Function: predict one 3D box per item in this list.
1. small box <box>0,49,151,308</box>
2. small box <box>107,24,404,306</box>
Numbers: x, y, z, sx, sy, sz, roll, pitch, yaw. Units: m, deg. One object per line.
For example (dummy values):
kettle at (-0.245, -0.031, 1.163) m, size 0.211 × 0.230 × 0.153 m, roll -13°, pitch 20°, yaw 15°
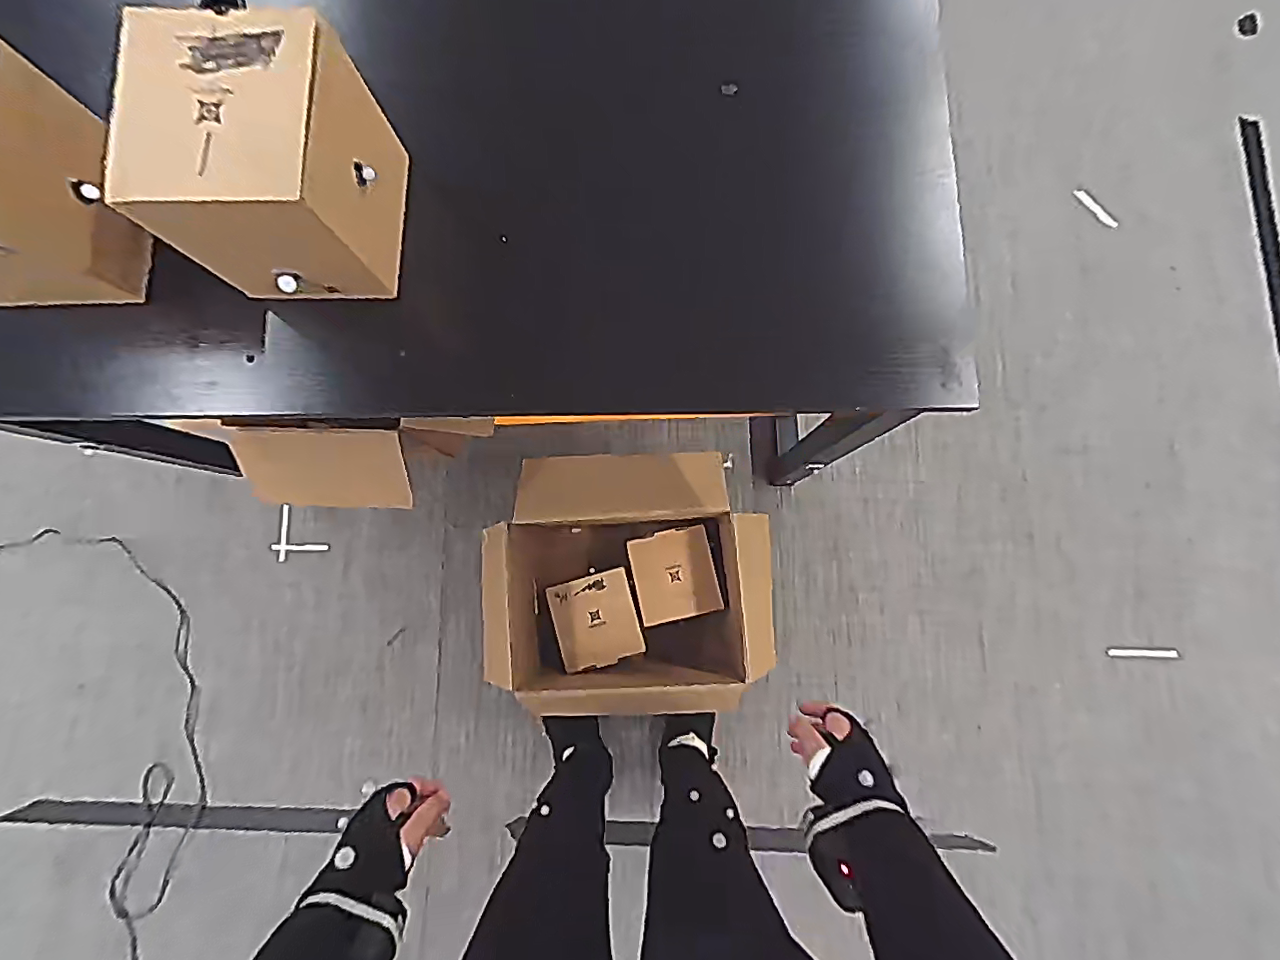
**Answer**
small box at (-0.634, -0.282, 0.532) m, size 0.179 × 0.176 × 0.168 m, roll -1°, pitch 81°, yaw 1°
small box at (-0.350, -0.293, 0.530) m, size 0.168 × 0.176 × 0.179 m, roll 0°, pitch 82°, yaw 1°
